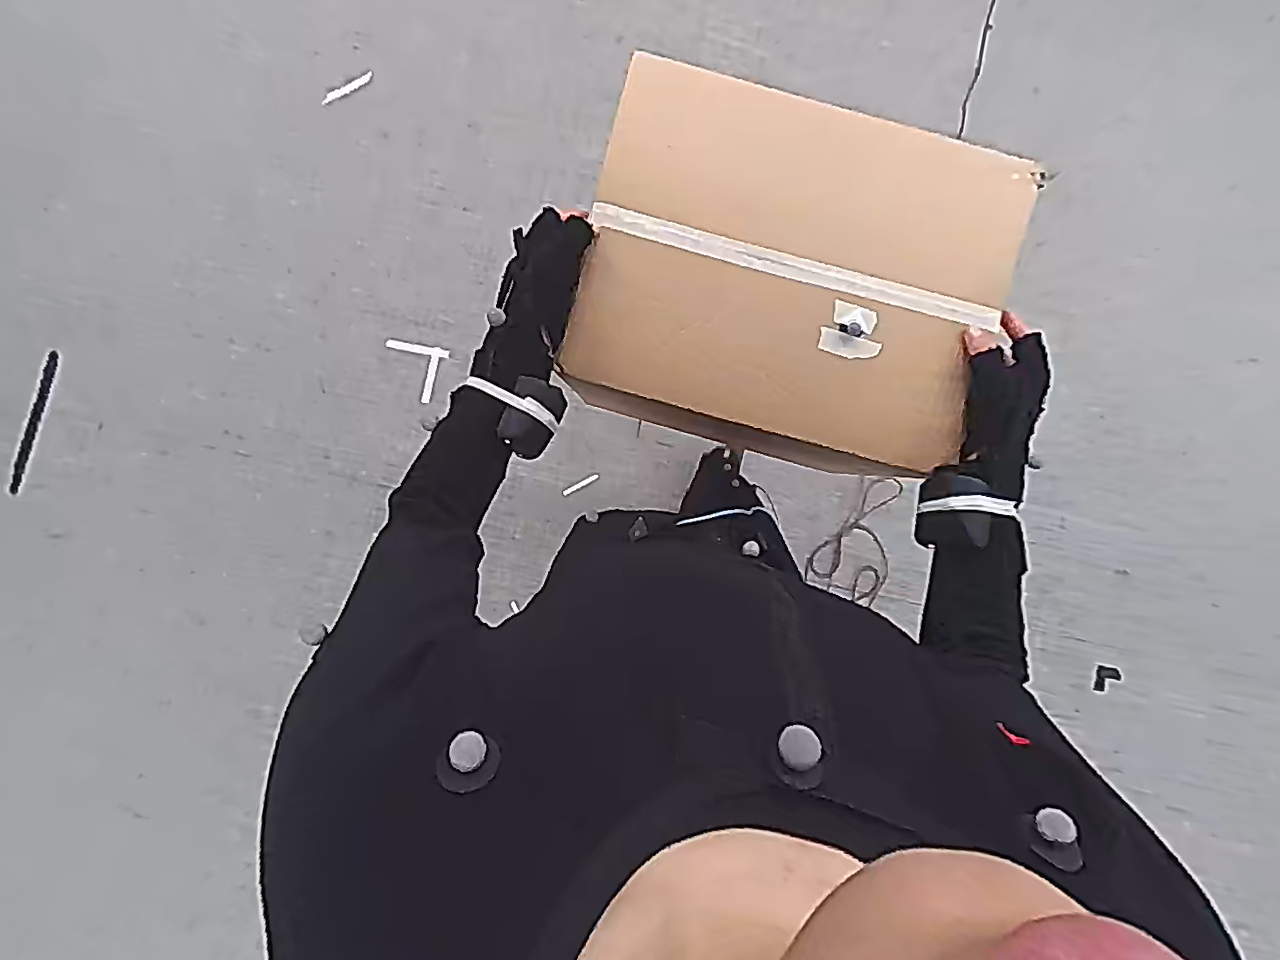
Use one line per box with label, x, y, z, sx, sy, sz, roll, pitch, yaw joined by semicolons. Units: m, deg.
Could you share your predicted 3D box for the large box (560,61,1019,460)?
large box;0.145;-0.221;0.685;0.408;0.320;0.320;16;93;-1
